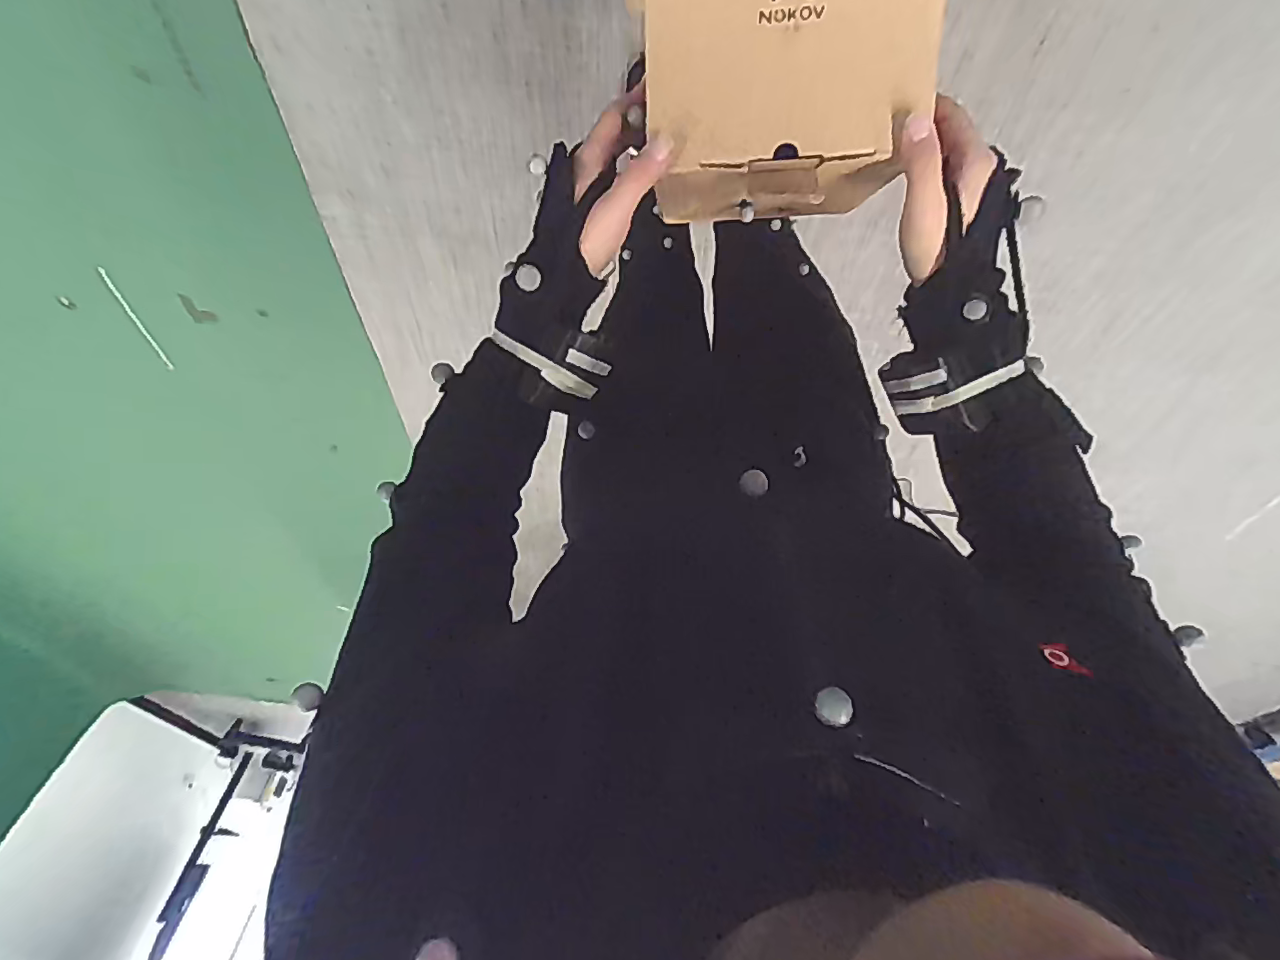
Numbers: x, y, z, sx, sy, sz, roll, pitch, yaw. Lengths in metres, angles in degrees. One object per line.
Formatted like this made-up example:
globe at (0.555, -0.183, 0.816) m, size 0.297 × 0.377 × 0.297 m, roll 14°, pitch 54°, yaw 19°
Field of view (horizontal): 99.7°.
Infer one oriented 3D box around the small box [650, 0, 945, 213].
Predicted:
small box at (0.091, -0.301, 0.375) m, size 0.168 × 0.176 × 0.179 m, roll -1°, pitch 106°, yaw 5°
